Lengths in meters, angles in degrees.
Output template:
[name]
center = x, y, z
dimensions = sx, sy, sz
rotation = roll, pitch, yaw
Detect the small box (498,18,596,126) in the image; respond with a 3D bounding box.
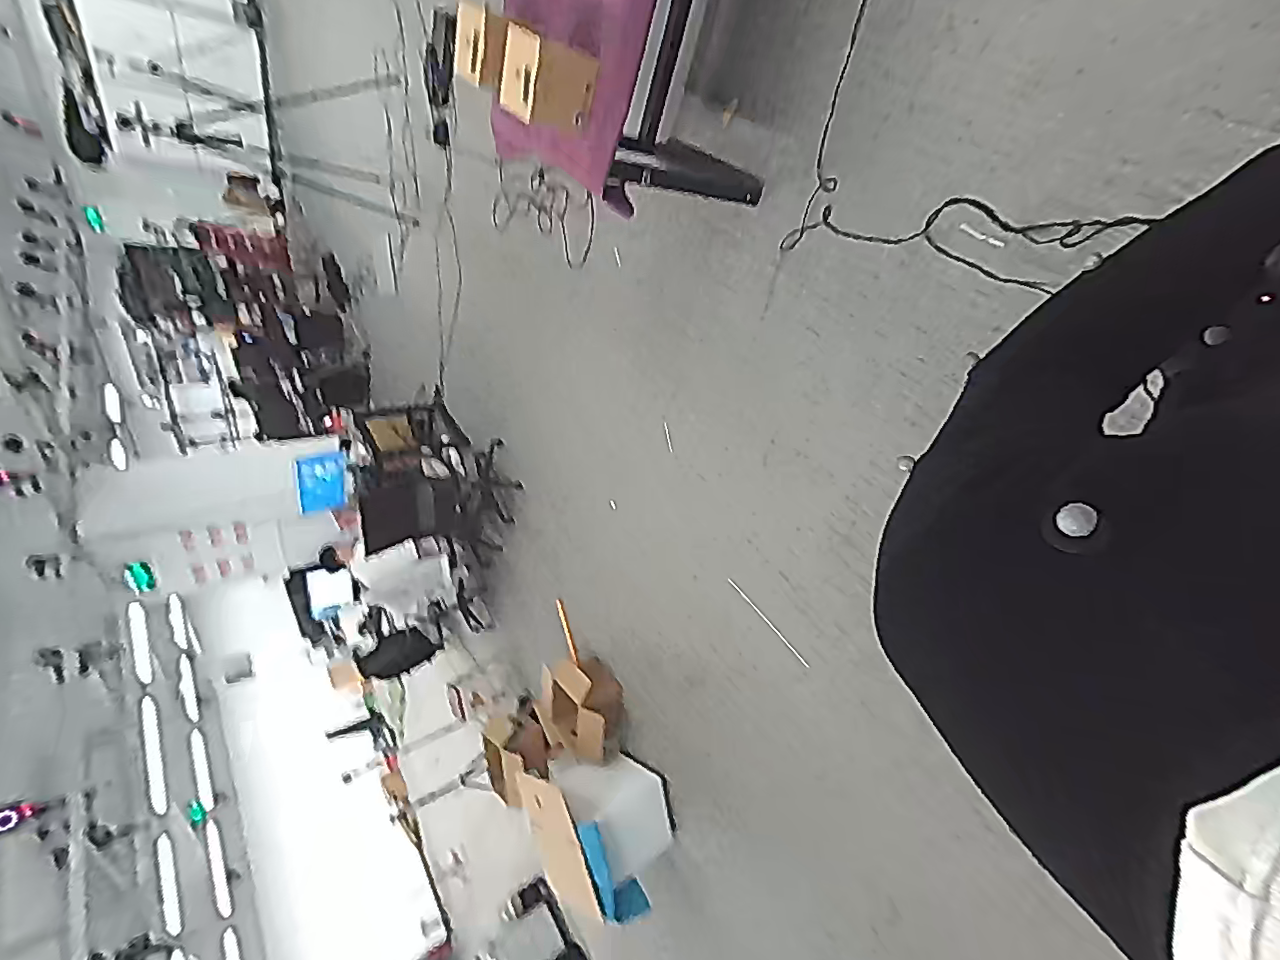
[small box]
center = -0.234, -1.013, 1.354
dimensions = 0.179, 0.176, 0.168
rotation = 49, 135, 31
